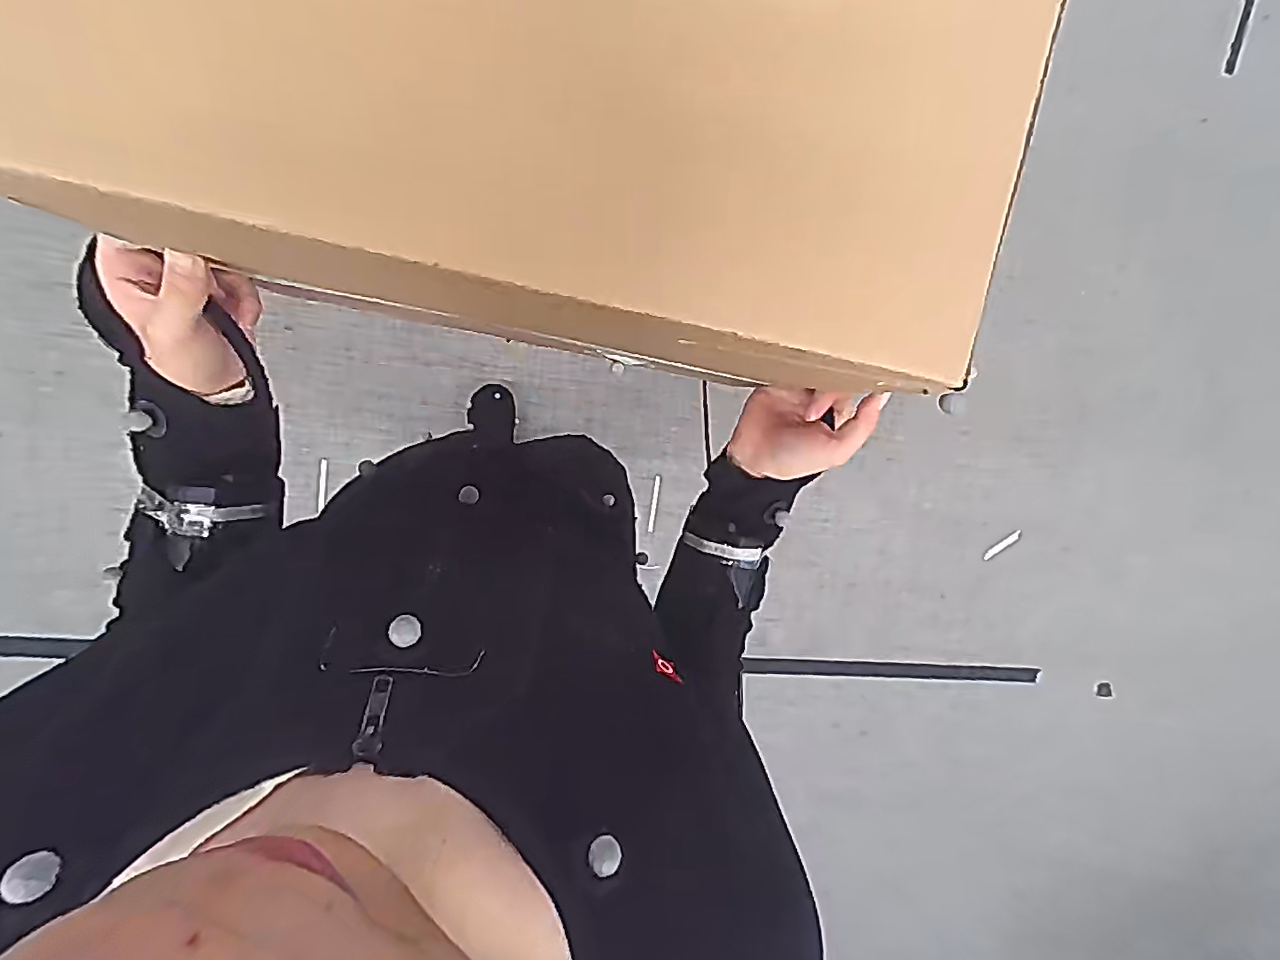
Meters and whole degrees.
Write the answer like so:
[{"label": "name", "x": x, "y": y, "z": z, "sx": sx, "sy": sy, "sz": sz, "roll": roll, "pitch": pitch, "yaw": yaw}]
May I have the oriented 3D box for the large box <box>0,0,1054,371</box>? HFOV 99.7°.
[{"label": "large box", "x": -0.045, "y": -0.260, "z": 0.325, "sx": 0.408, "sy": 0.320, "sz": 0.320, "roll": 7, "pitch": 100, "yaw": -15}]
